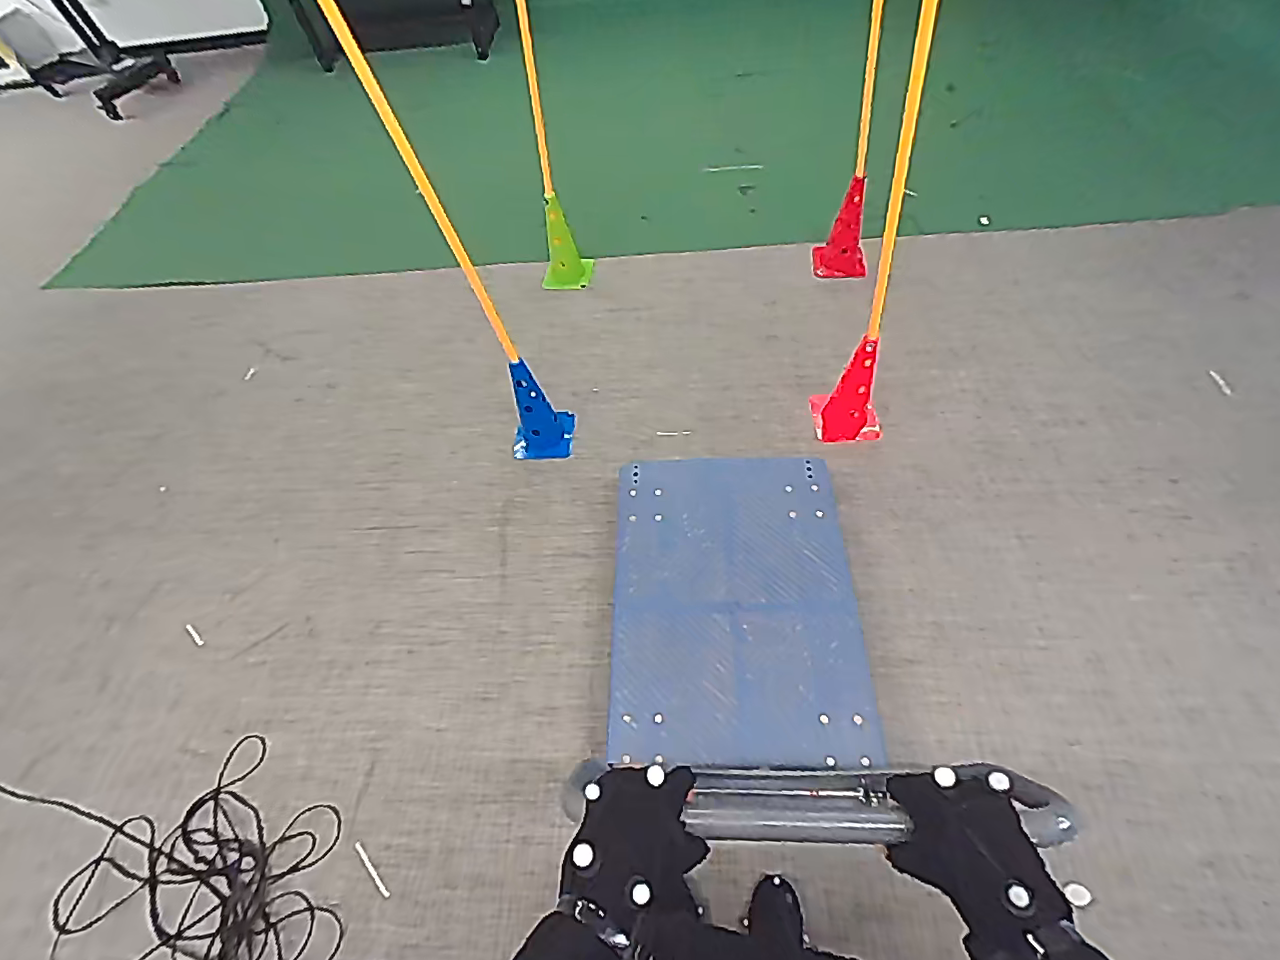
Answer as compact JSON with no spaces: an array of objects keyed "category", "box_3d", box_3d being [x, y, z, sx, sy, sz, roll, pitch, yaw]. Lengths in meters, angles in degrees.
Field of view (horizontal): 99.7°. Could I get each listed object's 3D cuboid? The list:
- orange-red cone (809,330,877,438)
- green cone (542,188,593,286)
[{"category":"orange-red cone","box_3d":[0.653,-0.312,1.658,0.199,0.360,0.198,-3,57,6]},{"category":"green cone","box_3d":[-0.330,-1.004,2.200,0.202,0.368,0.200,2,57,8]}]
